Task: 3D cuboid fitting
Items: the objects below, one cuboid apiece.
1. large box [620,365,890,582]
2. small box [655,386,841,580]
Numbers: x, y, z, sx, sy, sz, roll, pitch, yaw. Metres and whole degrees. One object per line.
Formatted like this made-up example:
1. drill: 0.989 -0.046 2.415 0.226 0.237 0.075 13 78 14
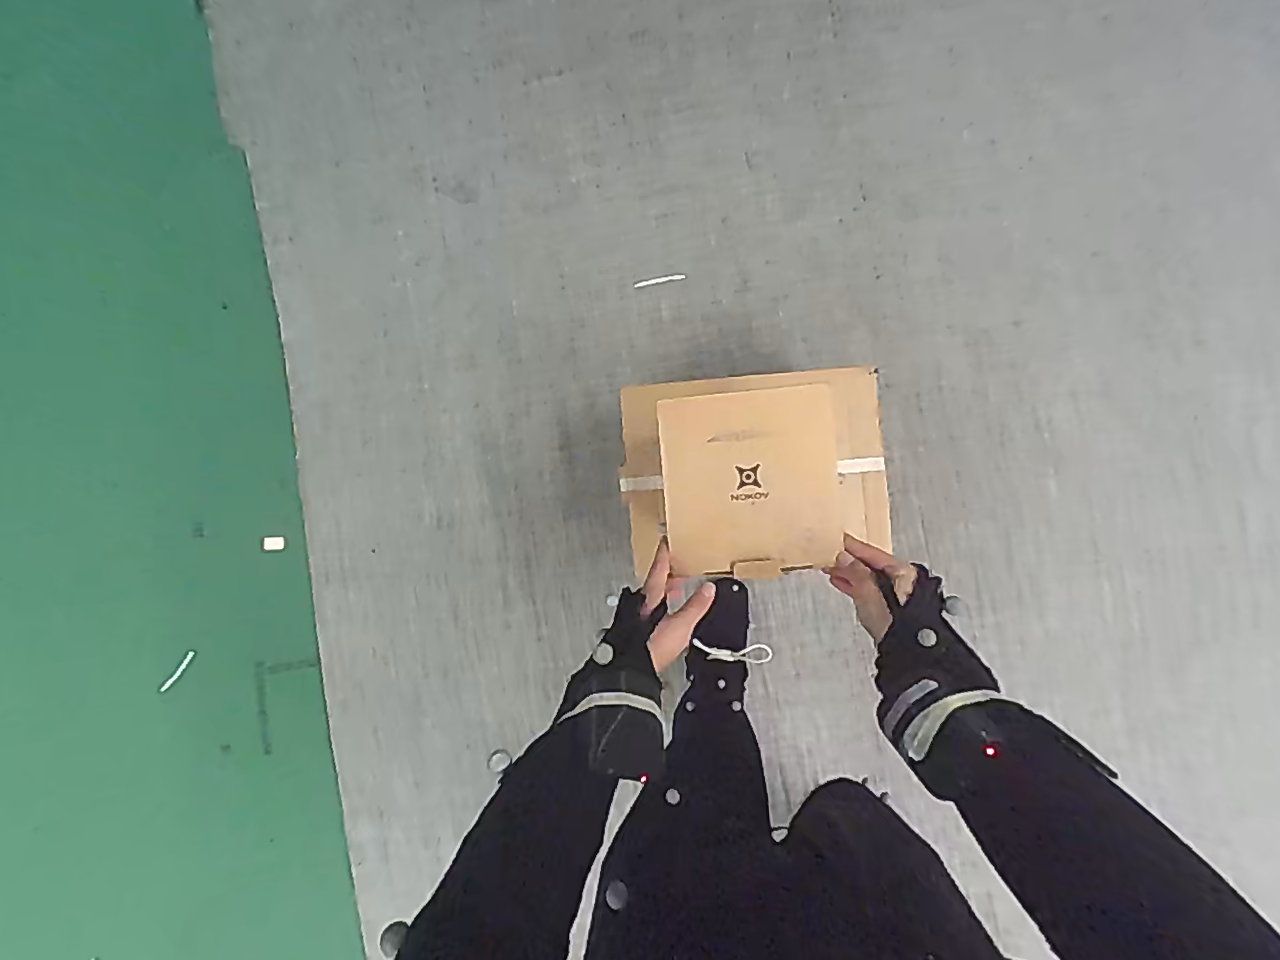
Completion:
1. large box: 0.185 -0.006 1.001 0.408 0.320 0.320 -5 90 3
2. small box: 0.111 0.006 0.592 0.168 0.176 0.179 -5 87 6
